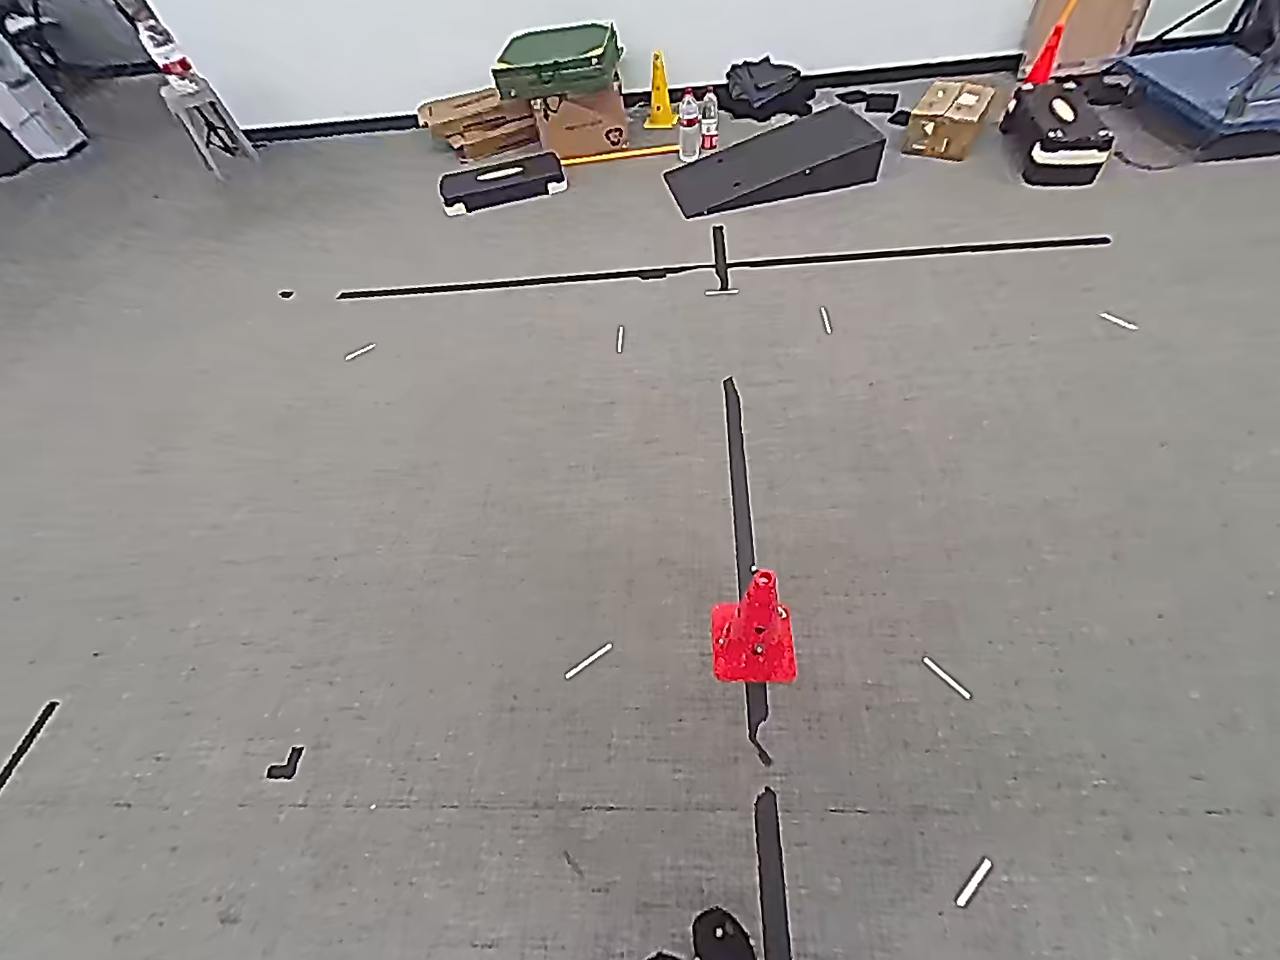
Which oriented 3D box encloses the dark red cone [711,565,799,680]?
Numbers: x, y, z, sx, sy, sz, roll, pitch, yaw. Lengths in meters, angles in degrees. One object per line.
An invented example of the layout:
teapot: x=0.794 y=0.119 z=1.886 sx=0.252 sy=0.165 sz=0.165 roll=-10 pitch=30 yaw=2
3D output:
dark red cone: x=0.263 y=0.294 z=1.205 sx=0.201 sy=0.394 sz=0.202 roll=-3 pitch=53 yaw=6
